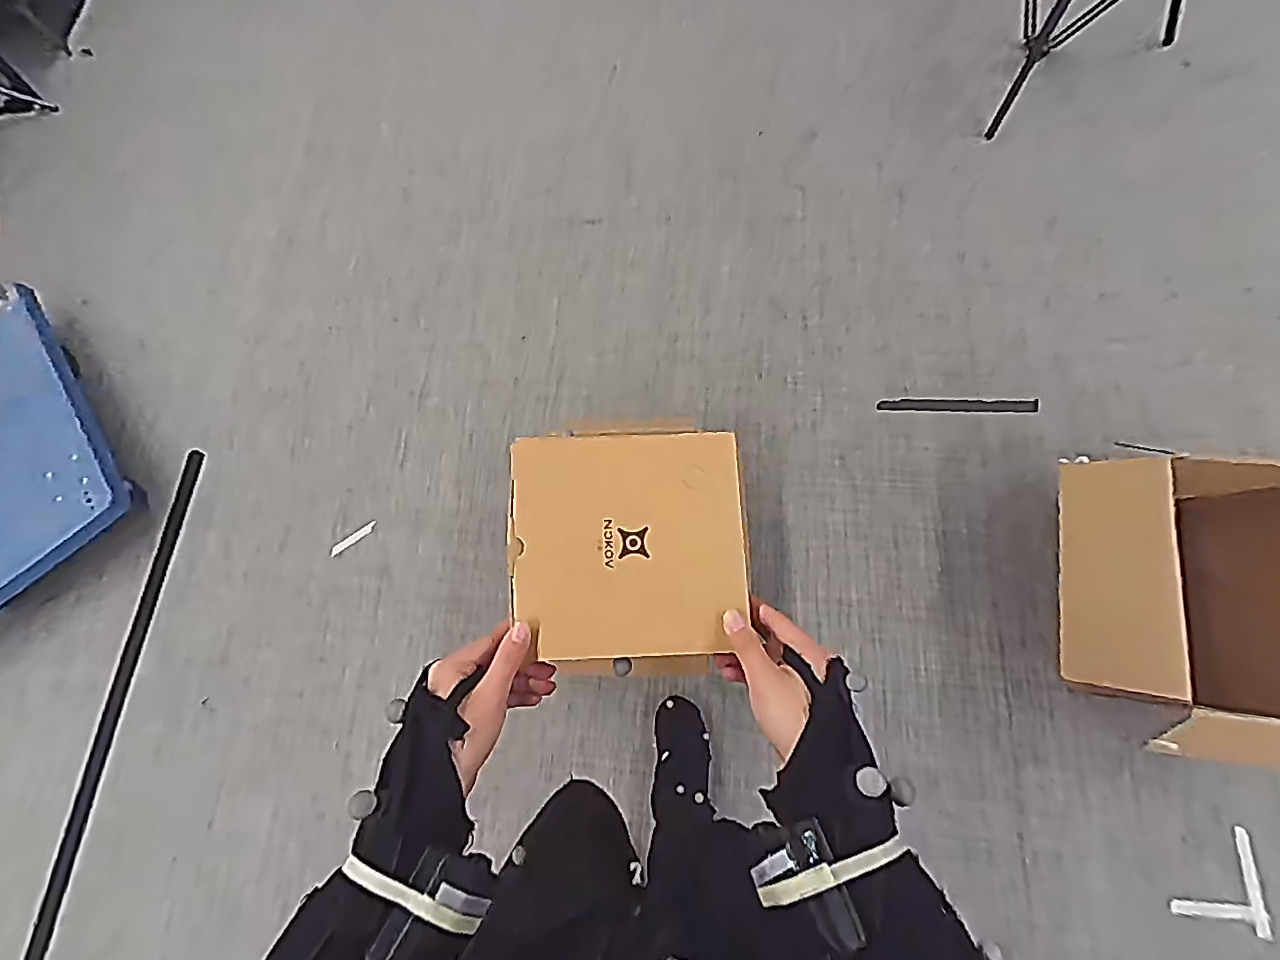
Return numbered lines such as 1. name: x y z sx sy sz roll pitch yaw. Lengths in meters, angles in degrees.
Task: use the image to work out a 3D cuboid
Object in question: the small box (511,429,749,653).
1. small box: -0.010 0.057 0.484 0.179 0.176 0.168 -3 79 0
